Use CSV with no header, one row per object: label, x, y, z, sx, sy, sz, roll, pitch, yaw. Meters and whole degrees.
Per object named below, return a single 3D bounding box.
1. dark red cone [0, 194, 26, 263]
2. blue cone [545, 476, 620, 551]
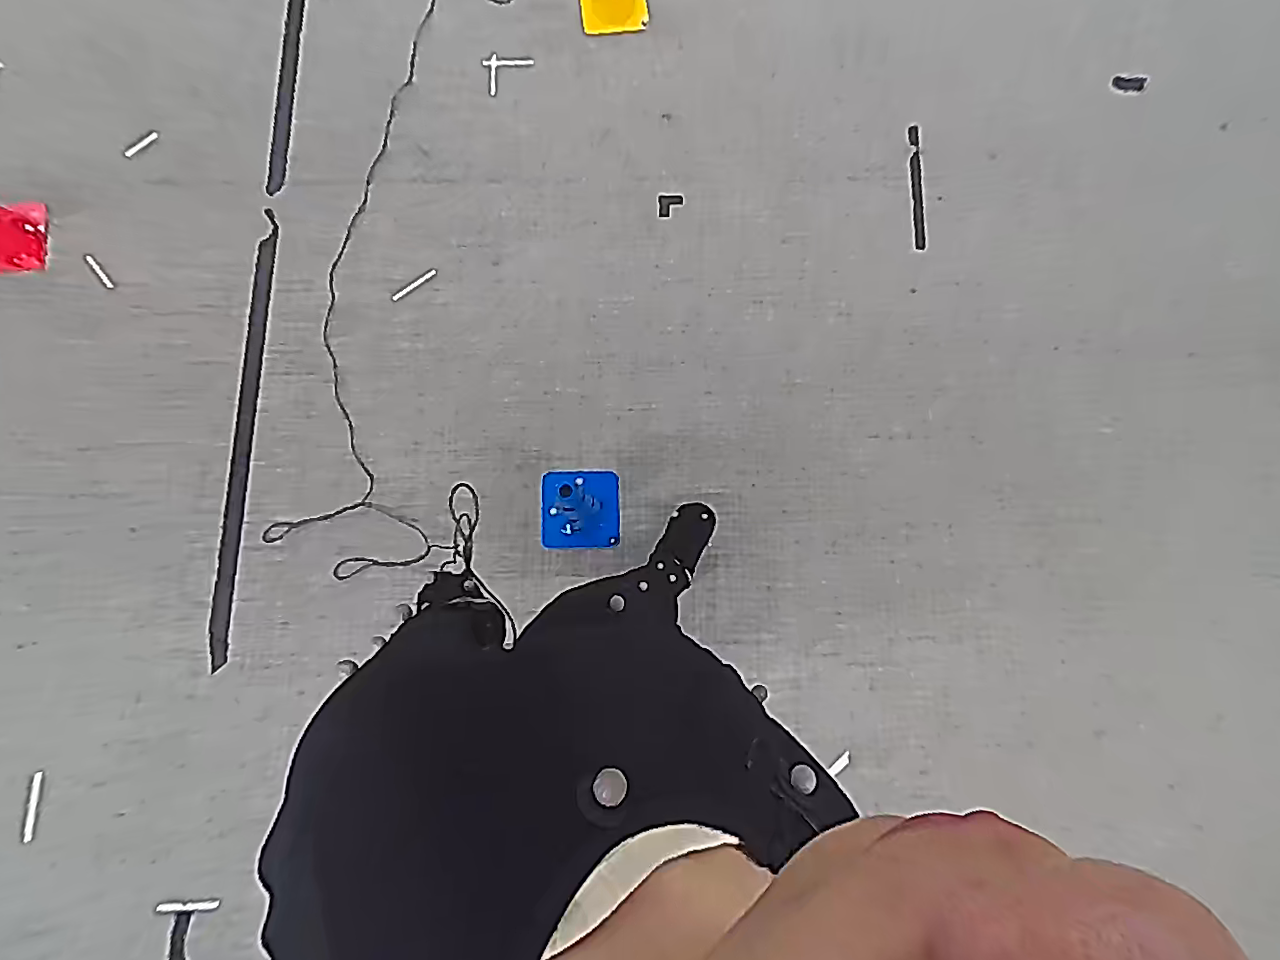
dark red cone,-1.733,-0.689,1.276,0.201,0.394,0.202,-8,81,-4
blue cone,-0.140,0.058,1.220,0.192,0.380,0.193,1,81,-2
